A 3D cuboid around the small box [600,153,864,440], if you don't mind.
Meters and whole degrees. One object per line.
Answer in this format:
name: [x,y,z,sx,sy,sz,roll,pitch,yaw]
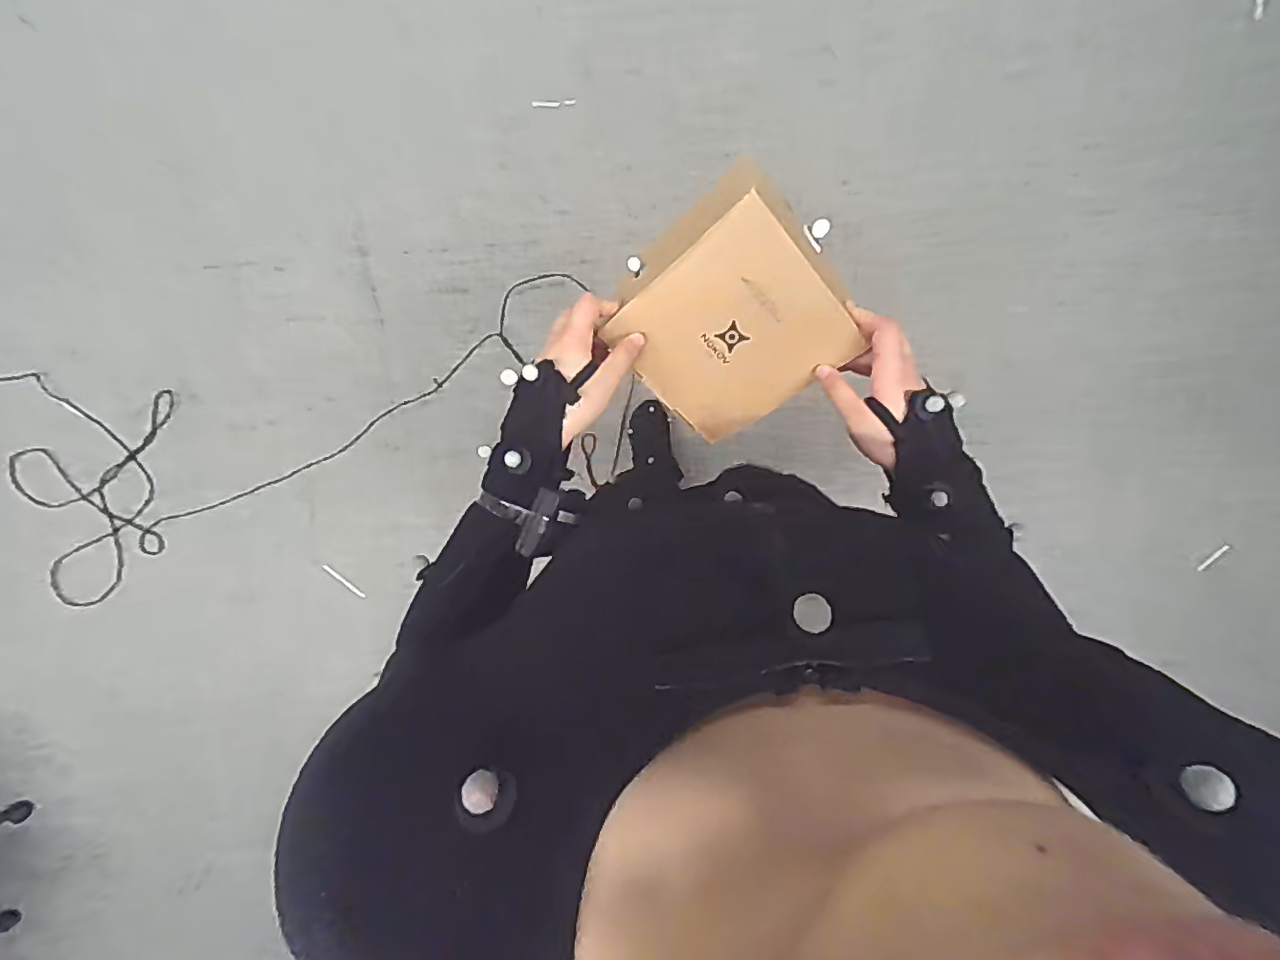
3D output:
small box: [0.089,-0.179,0.535,0.168,0.176,0.179,39,126,-23]
